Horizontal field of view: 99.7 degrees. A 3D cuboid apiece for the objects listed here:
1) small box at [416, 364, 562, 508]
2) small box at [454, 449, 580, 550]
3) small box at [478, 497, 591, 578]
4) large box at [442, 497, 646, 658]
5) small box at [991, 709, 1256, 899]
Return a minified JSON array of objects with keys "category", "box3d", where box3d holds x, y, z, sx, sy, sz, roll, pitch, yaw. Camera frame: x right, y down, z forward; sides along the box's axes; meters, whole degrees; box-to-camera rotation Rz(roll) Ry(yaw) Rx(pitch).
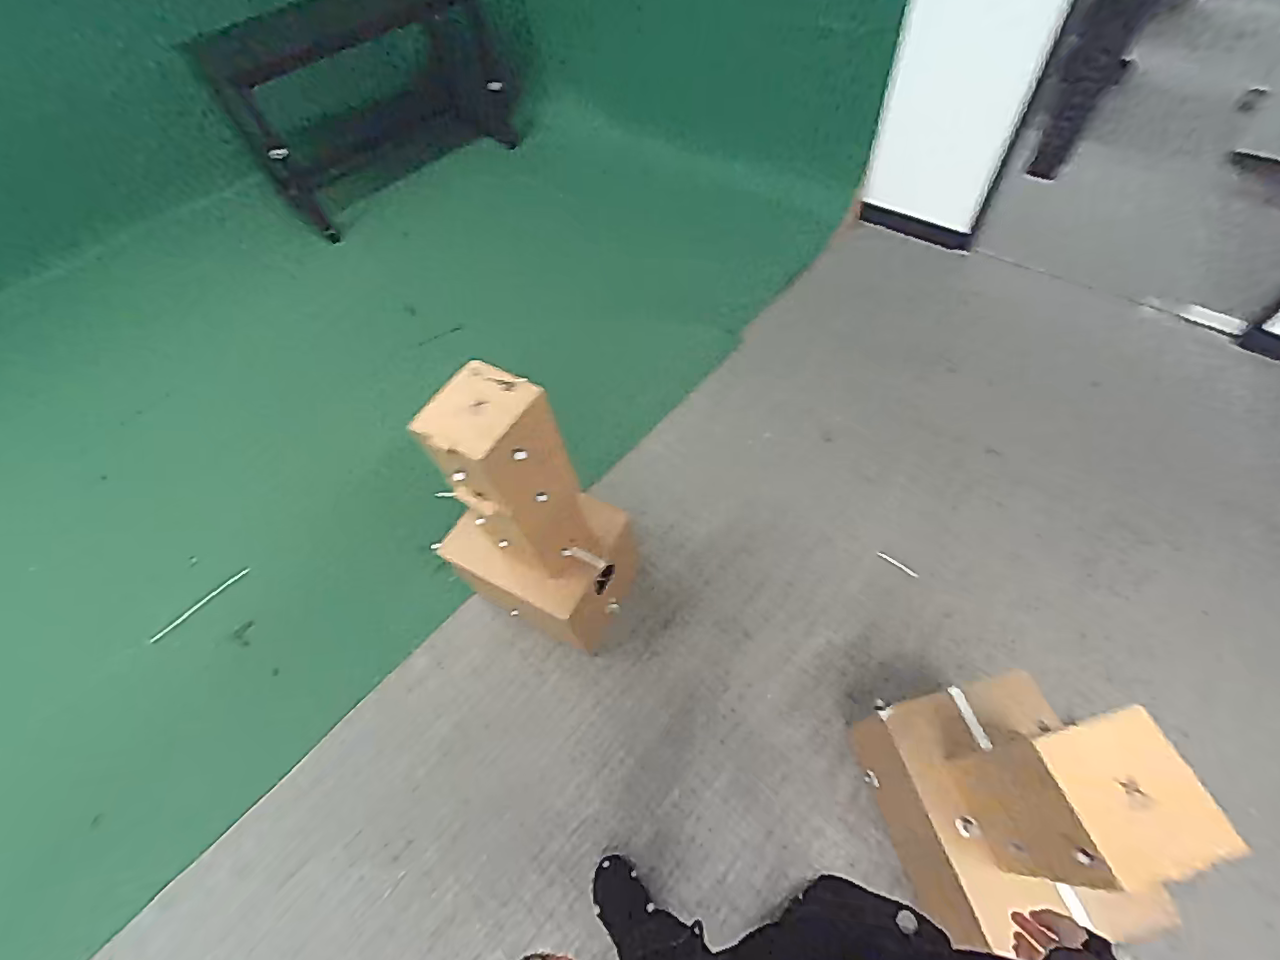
[{"category":"small box","box3d":[-0.266,-0.075,1.001,0.168,0.176,0.179,26,65,21]},{"category":"small box","box3d":[-0.246,0.018,1.135,0.168,0.176,0.179,27,64,22]},{"category":"small box","box3d":[-0.240,0.106,1.273,0.179,0.176,0.168,25,64,21]},{"category":"large box","box3d":[-0.239,0.232,1.485,0.408,0.320,0.320,21,60,21]},{"category":"small box","box3d":[0.635,0.441,0.744,0.168,0.176,0.179,-16,58,-4]}]
